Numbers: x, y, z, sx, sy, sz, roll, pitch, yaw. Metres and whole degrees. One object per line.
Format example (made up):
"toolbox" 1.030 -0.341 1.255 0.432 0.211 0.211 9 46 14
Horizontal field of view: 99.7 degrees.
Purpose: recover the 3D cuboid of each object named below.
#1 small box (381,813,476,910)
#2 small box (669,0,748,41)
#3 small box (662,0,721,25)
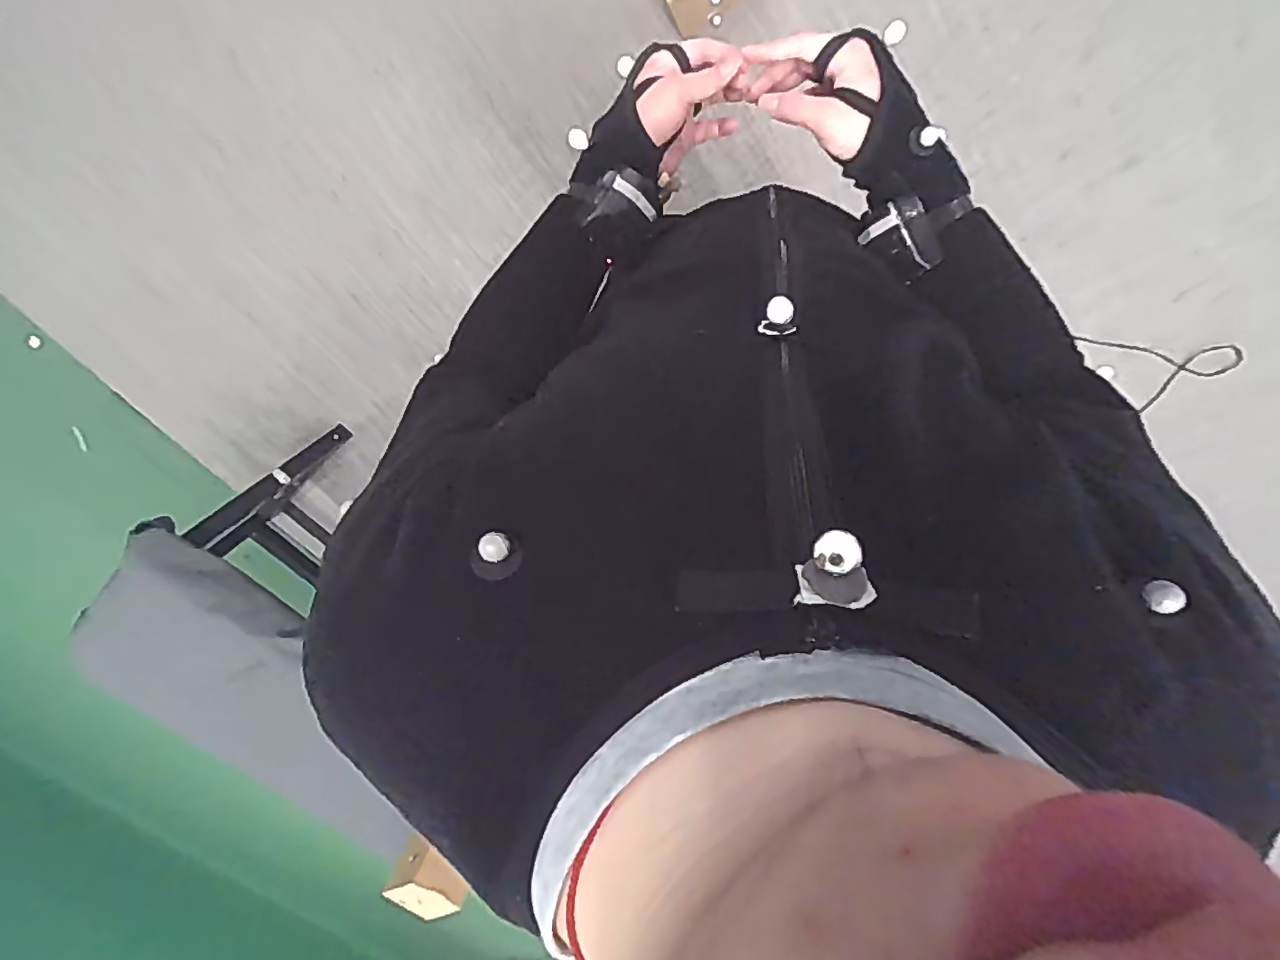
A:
"small box" -0.607 1.110 1.579 0.179 0.176 0.168 -36 109 25
"small box" 0.114 -1.004 1.049 0.168 0.176 0.179 -20 117 22
"small box" 0.090 -0.920 0.910 0.168 0.176 0.179 -19 116 21
